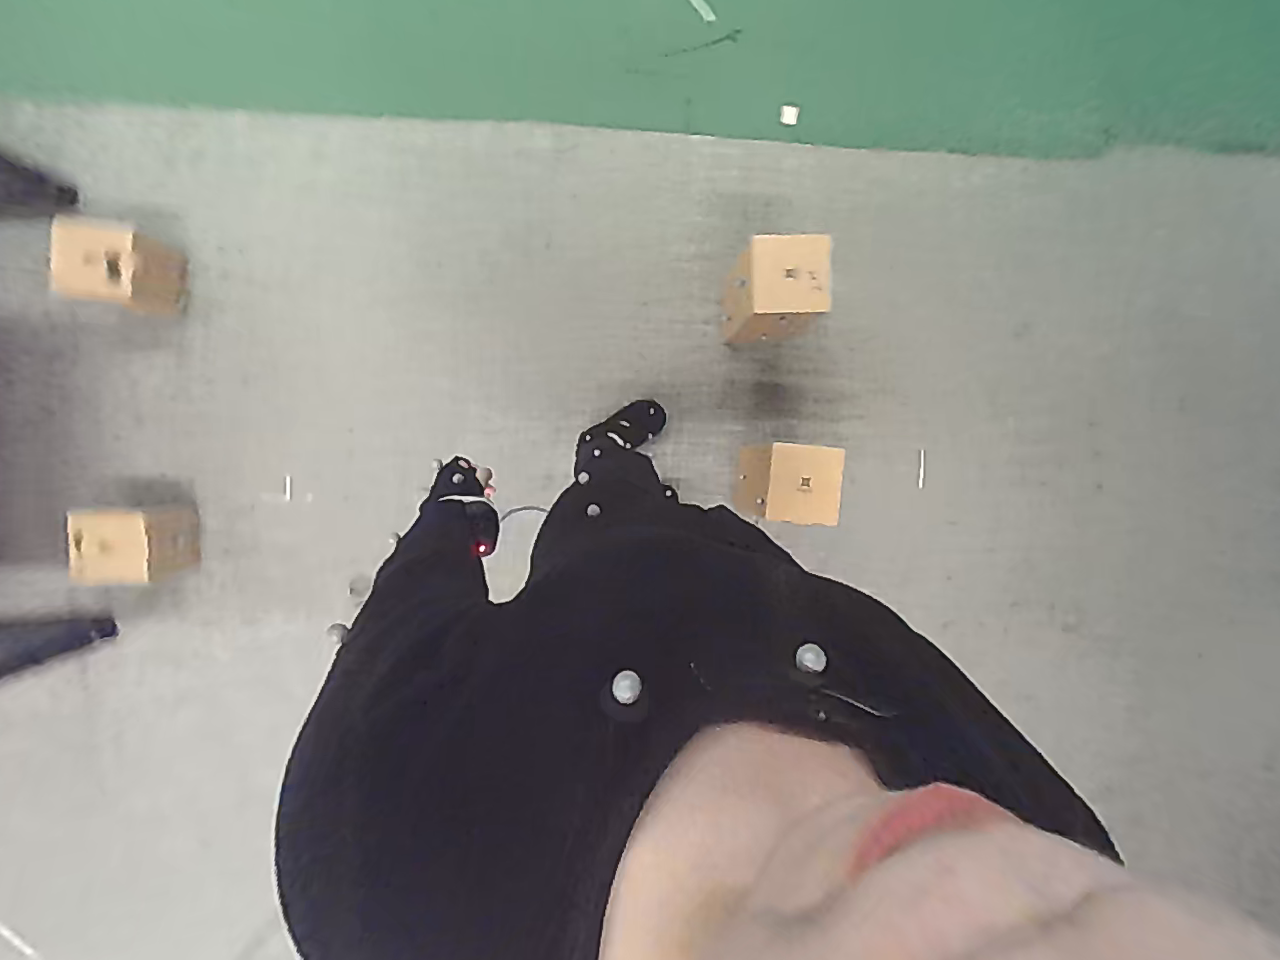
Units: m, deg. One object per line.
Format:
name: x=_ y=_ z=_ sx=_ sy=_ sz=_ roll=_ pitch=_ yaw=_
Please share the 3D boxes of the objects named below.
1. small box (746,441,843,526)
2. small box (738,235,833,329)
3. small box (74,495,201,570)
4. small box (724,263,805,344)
small box: x=0.354 y=0.005 z=1.269 sx=0.168 sy=0.176 sz=0.179 roll=6 pitch=93 yaw=-4
small box: x=0.326 y=-0.447 z=1.244 sx=0.179 sy=0.176 sz=0.168 roll=-1 pitch=94 yaw=-3
small box: x=-1.249 y=0.126 z=1.358 sx=0.179 sy=0.176 sz=0.168 roll=2 pitch=93 yaw=-4
small box: x=0.320 y=-0.454 z=1.408 sx=0.179 sy=0.176 sz=0.168 roll=1 pitch=94 yaw=-4
